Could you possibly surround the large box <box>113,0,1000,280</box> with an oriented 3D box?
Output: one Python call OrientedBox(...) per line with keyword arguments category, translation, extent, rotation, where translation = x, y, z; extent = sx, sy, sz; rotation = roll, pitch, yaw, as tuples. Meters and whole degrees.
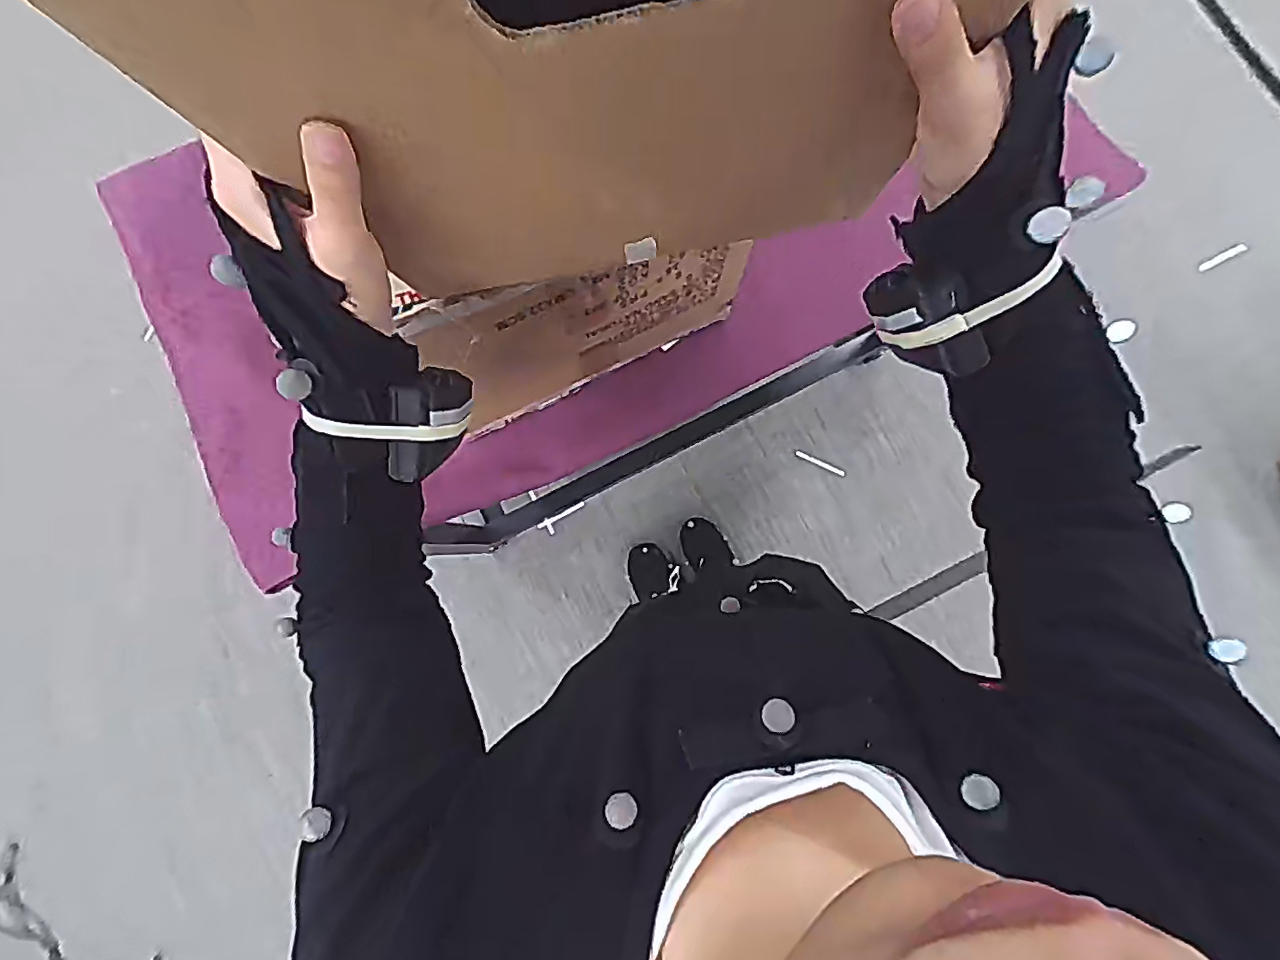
OrientedBox(category="large box", translation=(-0.040, -0.357, 0.226), extent=(0.320, 0.320, 0.408), rotation=(-10, 90, 4))
